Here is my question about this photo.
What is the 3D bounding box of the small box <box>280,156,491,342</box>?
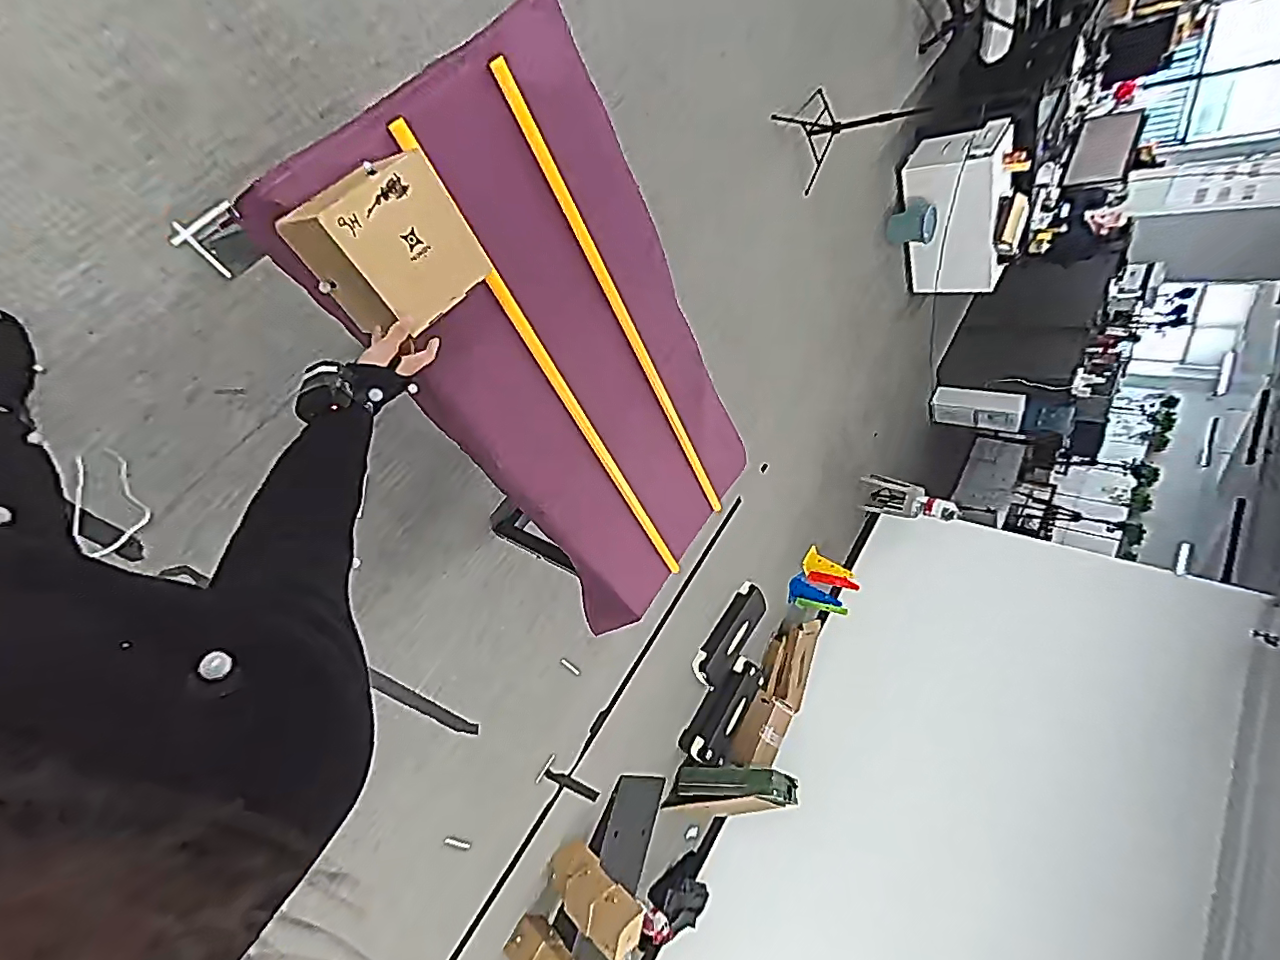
[{"bbox_3d":[-0.353,-0.321,0.761,0.168,0.176,0.179,-52,137,-23],"label":"small box"}]
